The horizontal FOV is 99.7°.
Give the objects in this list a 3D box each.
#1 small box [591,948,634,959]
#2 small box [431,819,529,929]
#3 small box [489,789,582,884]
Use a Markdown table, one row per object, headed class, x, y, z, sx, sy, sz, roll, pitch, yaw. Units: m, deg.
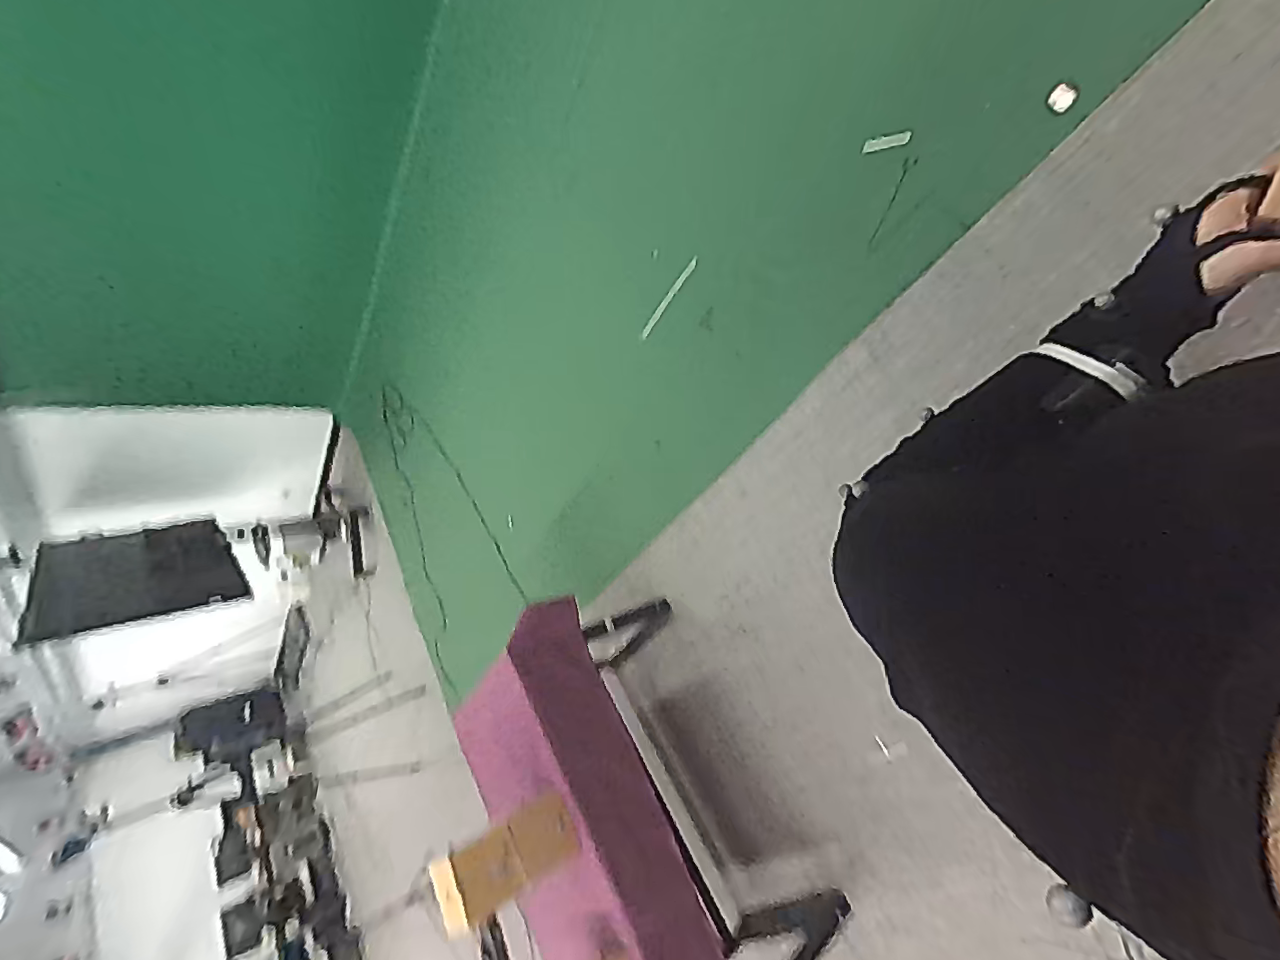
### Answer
| class | x | y | z | sx | sy | sz | roll | pitch | yaw |
| --- | --- | --- | --- | --- | --- | --- | --- | --- | --- |
| small box | -0.083 | 1.321 | 1.345 | 0.168 | 0.176 | 0.179 | -48 | 62 | 38 |
| small box | -0.415 | 1.022 | 1.408 | 0.179 | 0.176 | 0.168 | -48 | 63 | 38 |
| small box | -0.293 | 0.997 | 1.514 | 0.168 | 0.176 | 0.179 | -50 | 61 | 39 |
